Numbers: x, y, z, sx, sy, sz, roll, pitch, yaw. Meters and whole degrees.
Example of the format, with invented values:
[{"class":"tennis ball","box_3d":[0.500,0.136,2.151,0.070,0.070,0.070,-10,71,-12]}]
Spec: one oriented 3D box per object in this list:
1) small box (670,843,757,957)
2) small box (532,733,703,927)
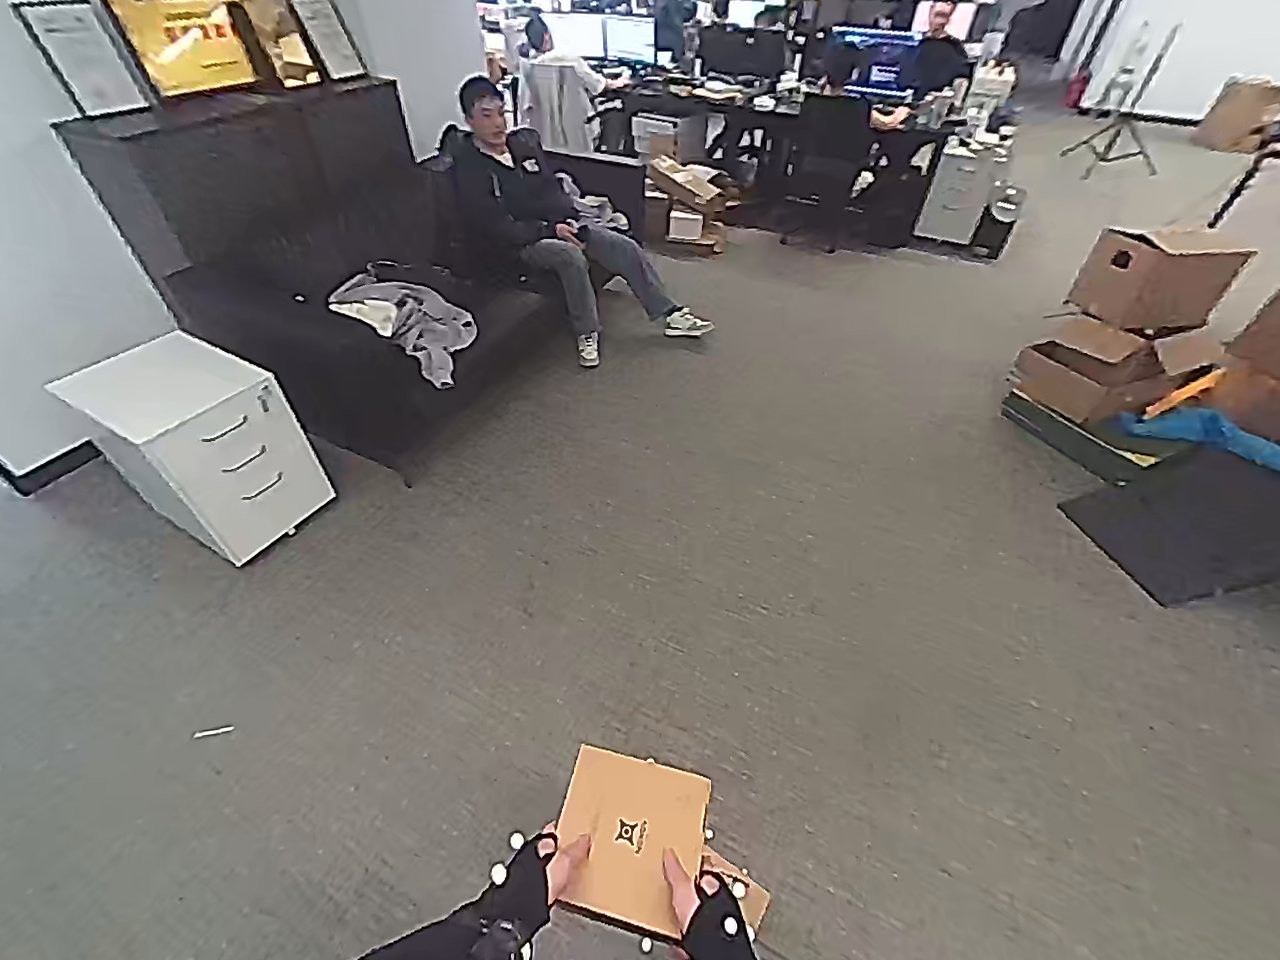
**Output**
[{"class":"small box","box_3d":[0.156,0.925,1.190,0.179,0.176,0.168,3,42,4]},{"class":"small box","box_3d":[-0.020,0.467,0.718,0.179,0.176,0.168,10,48,11]}]
